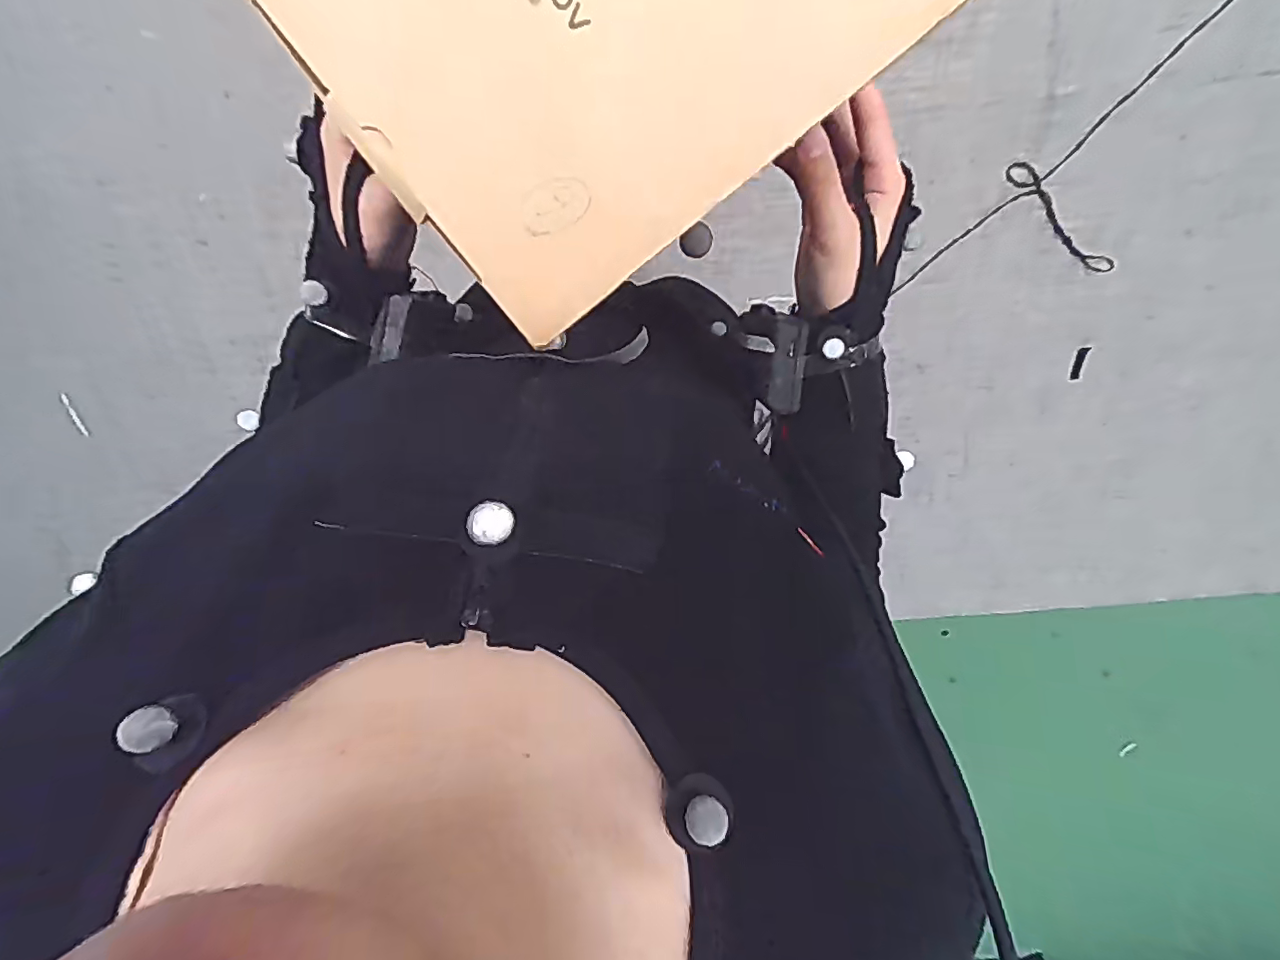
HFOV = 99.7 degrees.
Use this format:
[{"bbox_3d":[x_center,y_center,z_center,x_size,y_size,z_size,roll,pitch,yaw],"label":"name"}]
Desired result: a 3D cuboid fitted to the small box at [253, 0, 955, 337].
[{"bbox_3d":[-0.014,-0.189,0.228,0.179,0.176,0.168,-33,108,19],"label":"small box"}]
